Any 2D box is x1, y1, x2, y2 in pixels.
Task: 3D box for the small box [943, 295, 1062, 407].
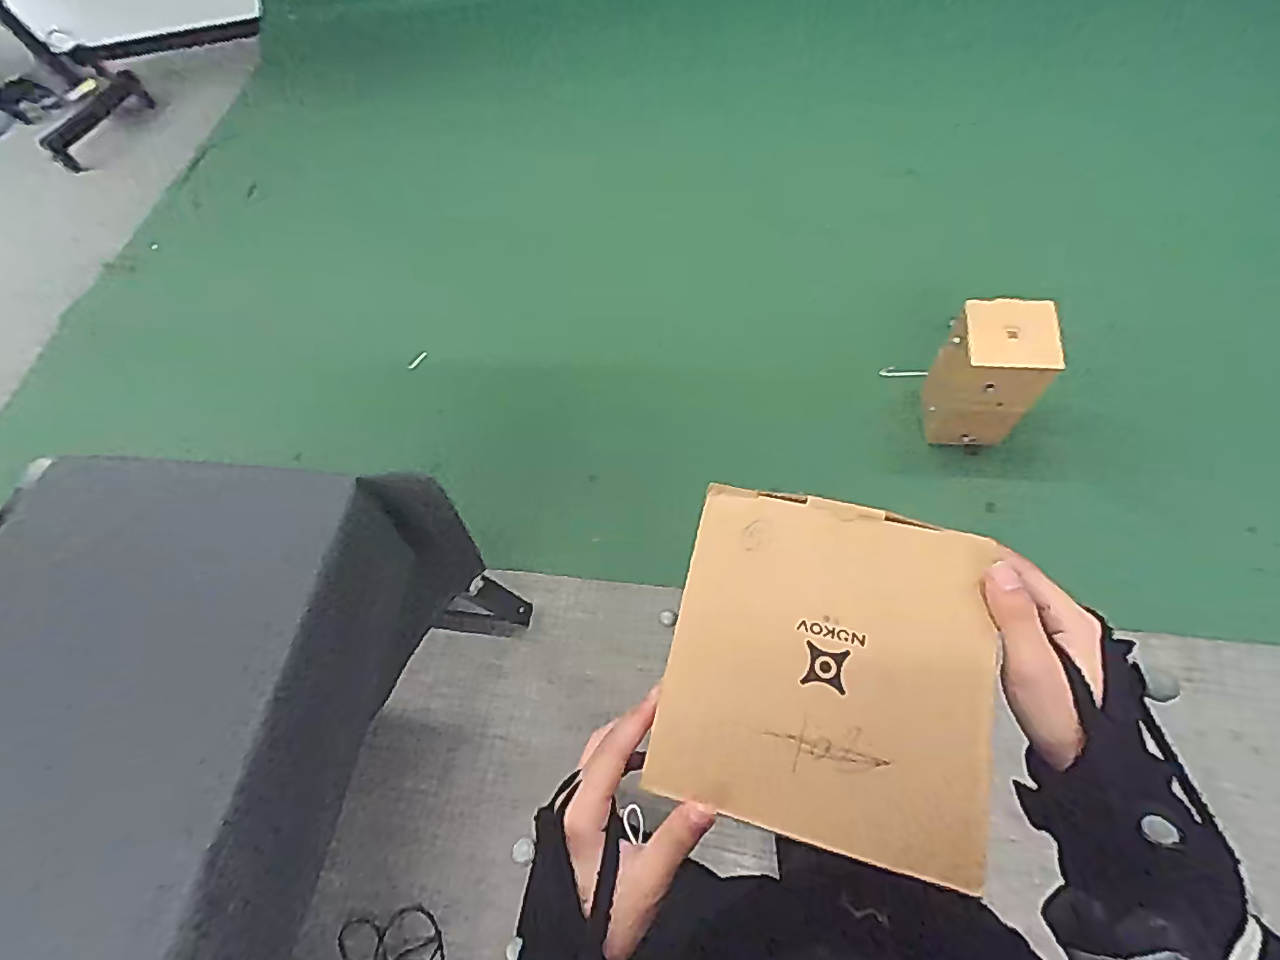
[{"bbox_3d":[0.772,-0.274,1.170,0.168,0.176,0.179,5,65,14],"label":"small box"}]
